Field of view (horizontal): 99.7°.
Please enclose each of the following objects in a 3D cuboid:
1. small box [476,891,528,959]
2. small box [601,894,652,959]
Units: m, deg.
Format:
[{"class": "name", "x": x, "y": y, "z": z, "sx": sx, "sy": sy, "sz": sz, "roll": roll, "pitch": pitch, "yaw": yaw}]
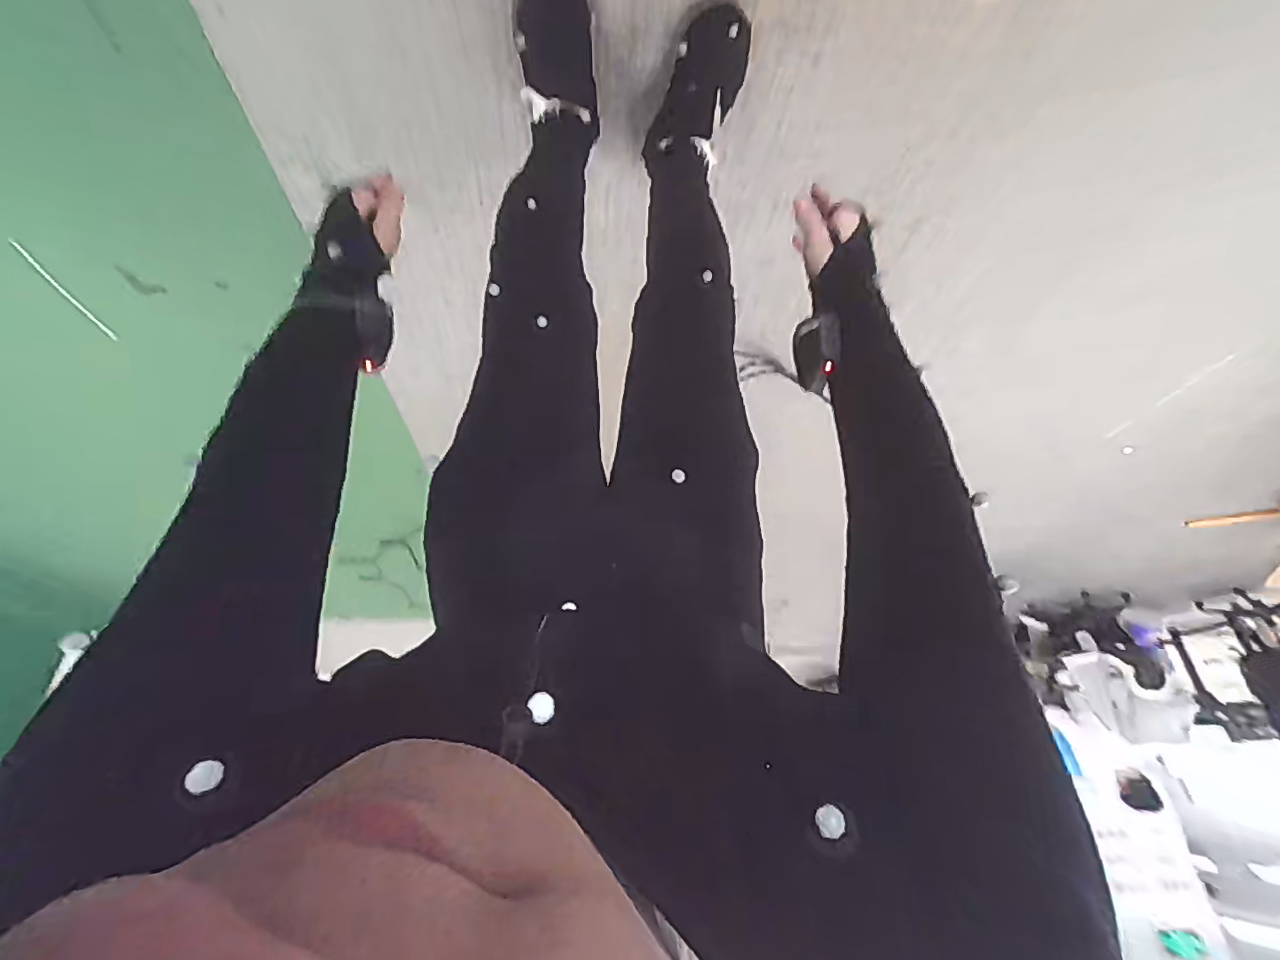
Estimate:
[{"class": "small box", "x": -0.496, "y": 1.618, "z": 1.958, "sx": 0.168, "sy": 0.176, "sz": 0.179, "roll": 3, "pitch": 153, "yaw": -8}, {"class": "small box", "x": -0.048, "y": 1.604, "z": 1.938, "sx": 0.179, "sy": 0.176, "sz": 0.168, "roll": 0, "pitch": 152, "yaw": -1}]
